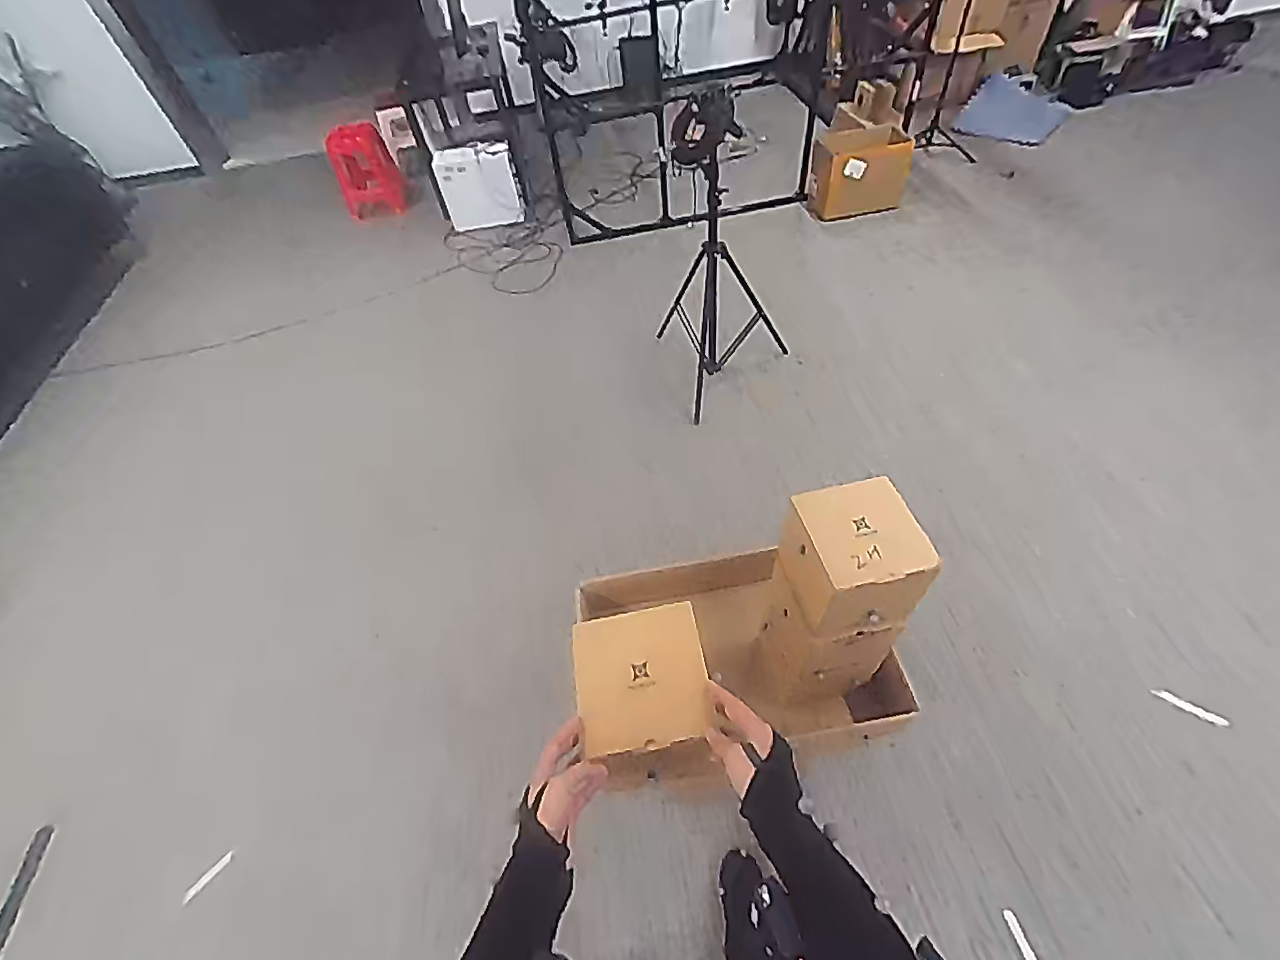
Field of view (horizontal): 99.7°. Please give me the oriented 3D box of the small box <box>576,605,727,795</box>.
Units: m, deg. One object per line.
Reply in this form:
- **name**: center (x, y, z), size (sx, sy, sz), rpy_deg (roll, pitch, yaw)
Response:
- **small box**: center (0.016, 0.297, 0.726), size (0.168, 0.176, 0.179), rpy_deg (-12, 50, 1)

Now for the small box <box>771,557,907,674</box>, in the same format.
- **small box**: center (0.352, 0.240, 0.992), size (0.168, 0.176, 0.179), rpy_deg (-12, 51, -3)

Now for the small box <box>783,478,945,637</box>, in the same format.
- **small box**: center (0.343, 0.126, 0.872), size (0.168, 0.176, 0.179), rpy_deg (-12, 52, -3)
